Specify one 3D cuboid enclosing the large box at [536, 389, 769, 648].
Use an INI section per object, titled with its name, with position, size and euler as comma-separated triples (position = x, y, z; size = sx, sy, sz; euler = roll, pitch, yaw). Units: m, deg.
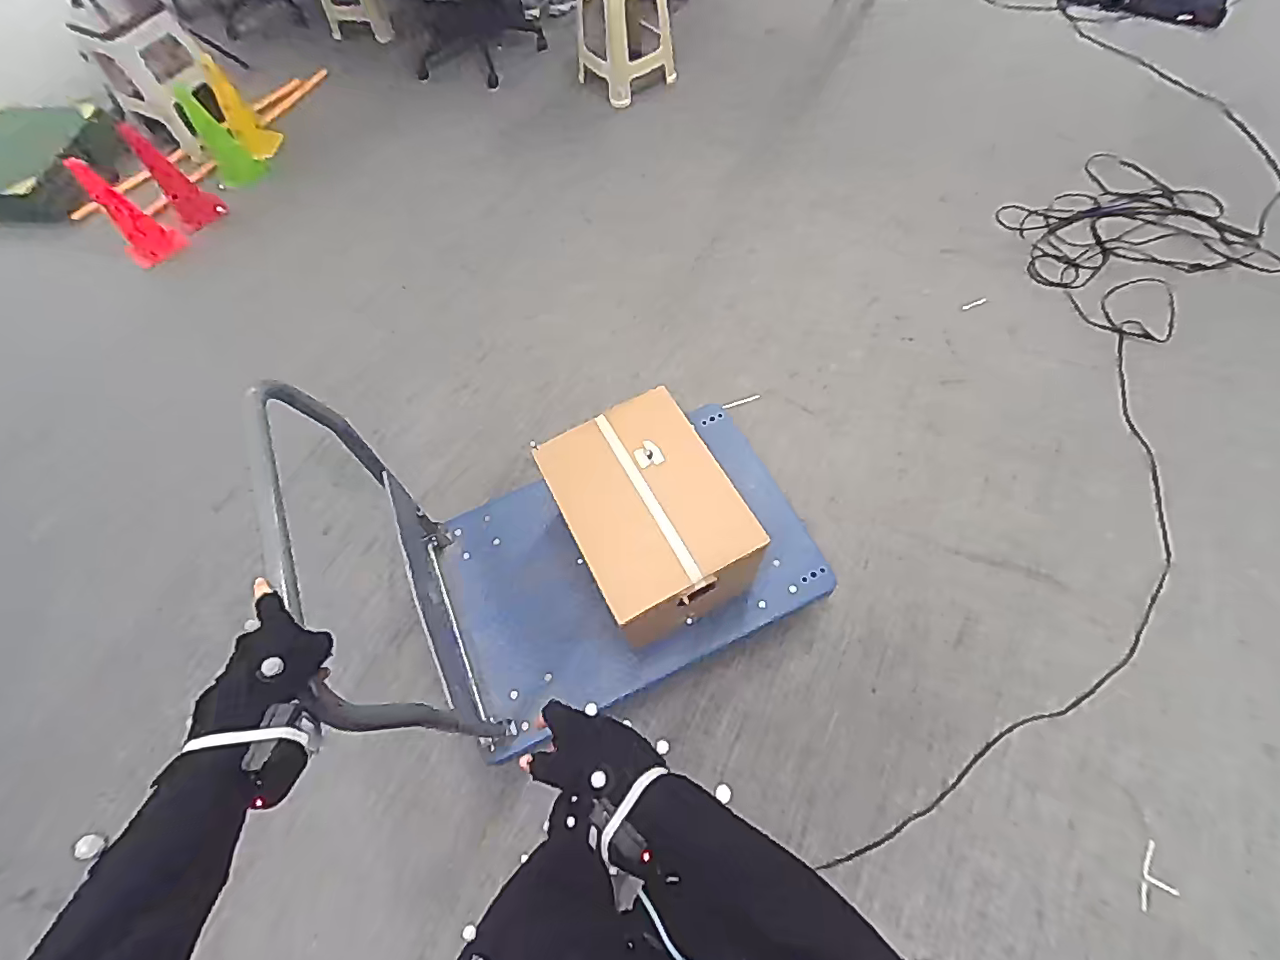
[large box]
position = 0.027, 0.091, 1.179
size = 0.320, 0.320, 0.408
euler = -27, 63, -9
